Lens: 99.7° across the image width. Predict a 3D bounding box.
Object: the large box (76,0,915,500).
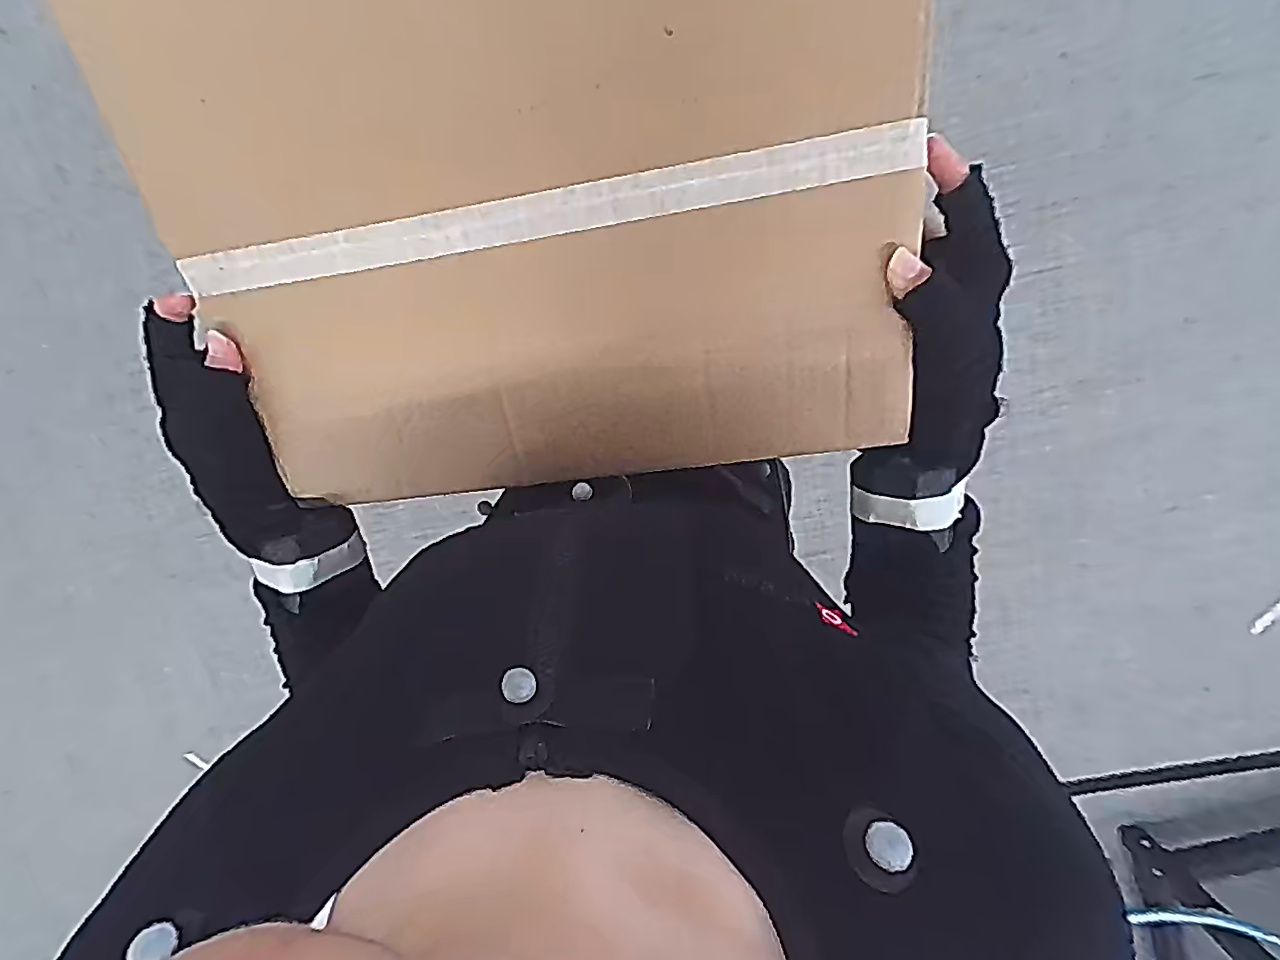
[{"bbox_3d":[-0.048,-0.211,0.427,0.408,0.320,0.320,-6,115,8],"label":"large box"}]
